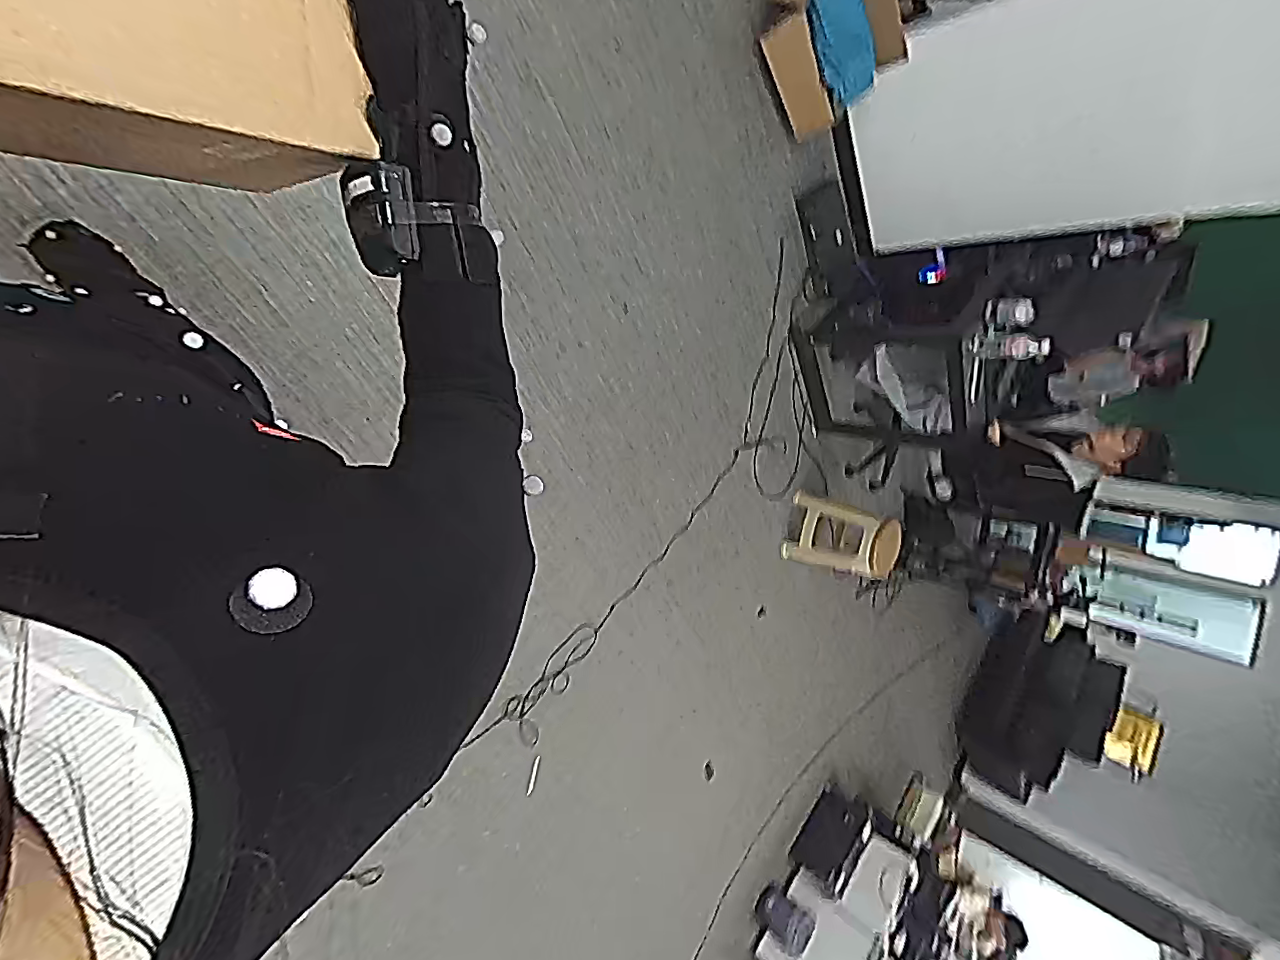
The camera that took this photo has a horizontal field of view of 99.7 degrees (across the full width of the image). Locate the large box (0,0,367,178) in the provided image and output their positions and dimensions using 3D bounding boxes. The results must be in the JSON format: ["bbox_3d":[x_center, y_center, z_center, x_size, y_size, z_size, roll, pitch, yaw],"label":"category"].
[{"bbox_3d":[-0.423,-0.371,0.280,0.408,0.320,0.320,-16,119,-43],"label":"large box"}]
